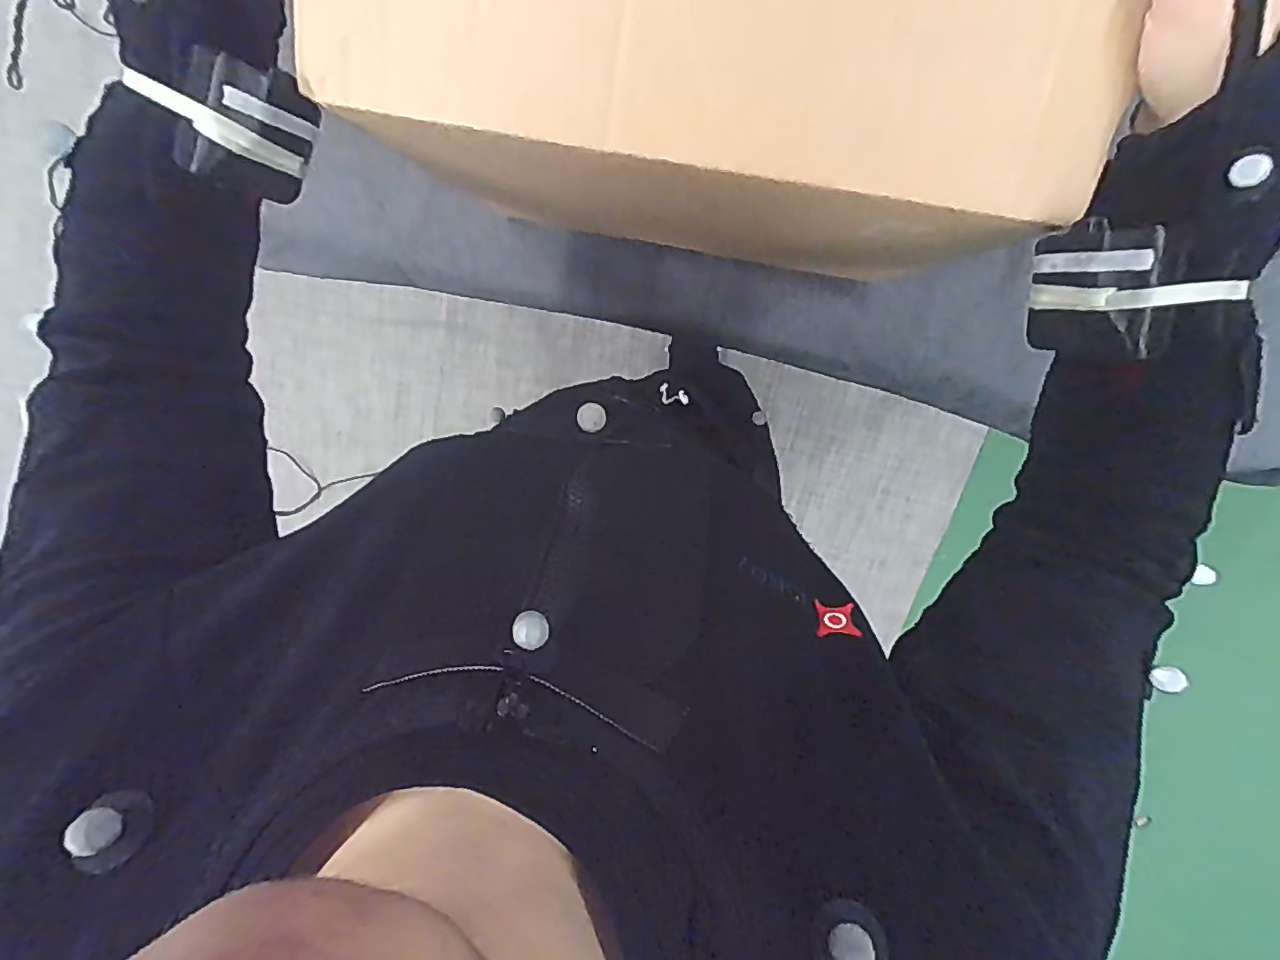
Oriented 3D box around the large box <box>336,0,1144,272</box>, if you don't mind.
[{"bbox_3d":[0.062,-0.354,0.391,0.408,0.320,0.320,10,107,2],"label":"large box"}]
